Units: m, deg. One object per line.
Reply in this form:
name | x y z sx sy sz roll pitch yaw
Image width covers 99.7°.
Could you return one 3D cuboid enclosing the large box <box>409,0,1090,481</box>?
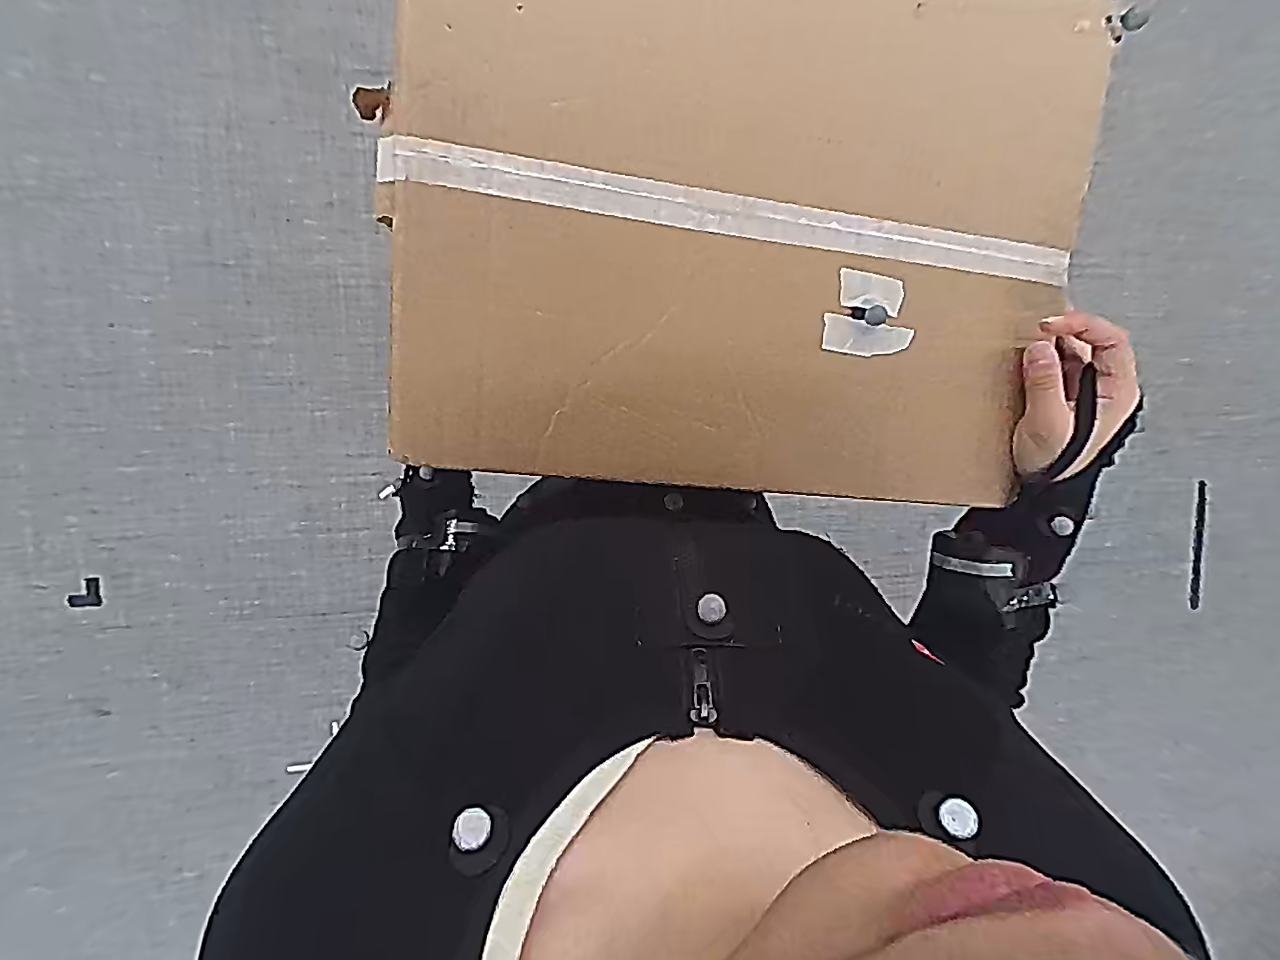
large box | 0.045 -0.183 0.462 0.408 0.320 0.320 4 100 -12
